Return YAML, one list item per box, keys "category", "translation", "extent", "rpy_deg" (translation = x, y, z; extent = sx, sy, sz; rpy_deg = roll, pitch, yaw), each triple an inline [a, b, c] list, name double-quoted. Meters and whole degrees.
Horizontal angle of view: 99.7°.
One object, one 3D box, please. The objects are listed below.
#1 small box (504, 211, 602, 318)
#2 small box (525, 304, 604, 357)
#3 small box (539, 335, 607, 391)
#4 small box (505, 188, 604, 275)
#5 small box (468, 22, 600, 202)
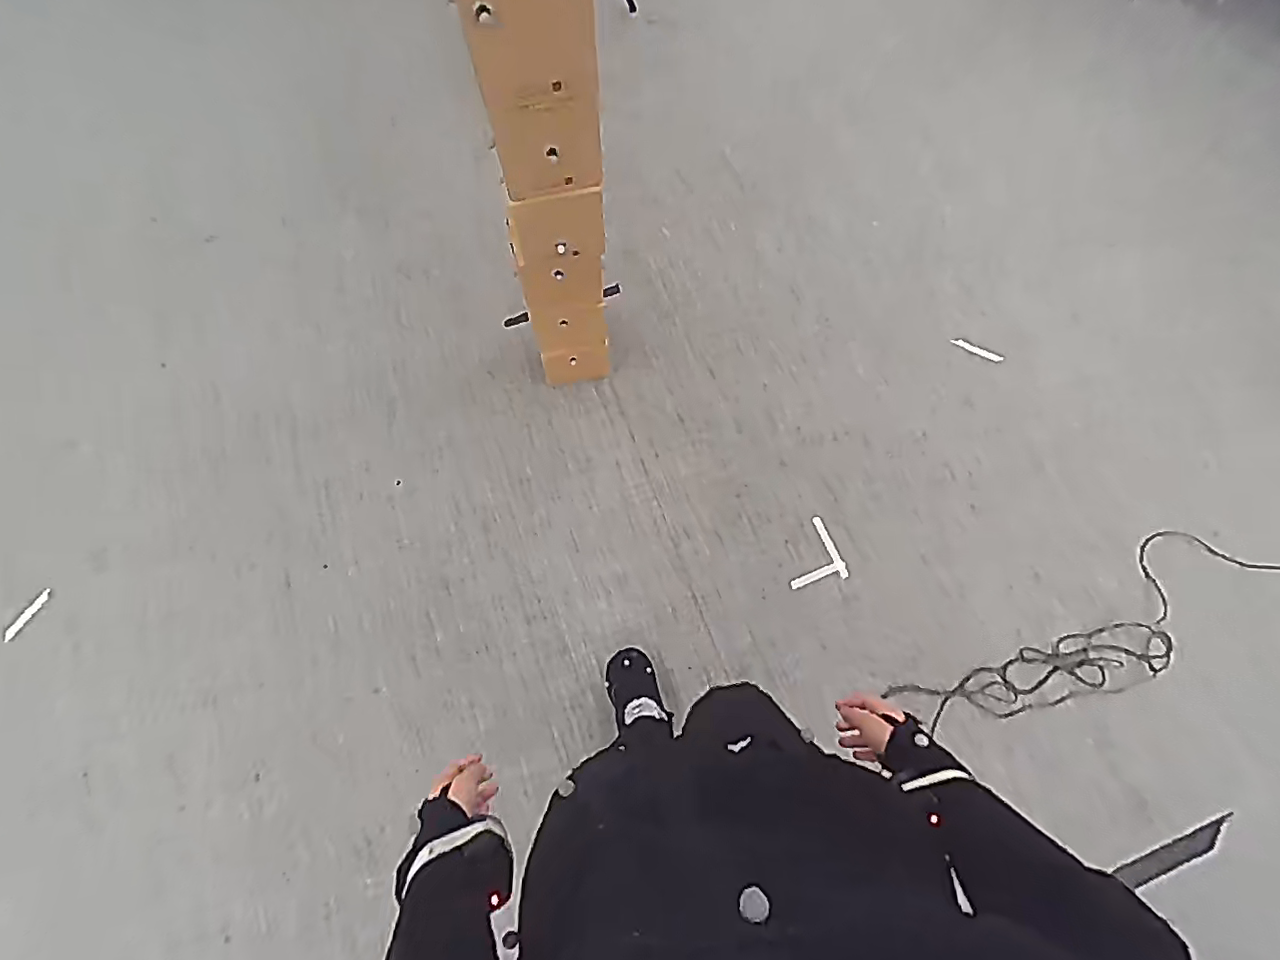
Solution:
- category: "small box"
  translation: [-0.186, -0.477, 1.189]
  extent: [0.179, 0.176, 0.168]
  rpy_deg: [-12, 75, -6]
- category: "small box"
  translation: [-0.188, -0.422, 1.341]
  extent: [0.179, 0.176, 0.168]
  rpy_deg: [-9, 74, -5]
- category: "small box"
  translation: [-0.191, -0.366, 1.496]
  extent: [0.179, 0.176, 0.168]
  rpy_deg: [-12, 74, -6]
- category: "small box"
  translation: [-0.166, -0.526, 1.033]
  extent: [0.168, 0.176, 0.179]
  rpy_deg: [-12, 75, -5]
- category: "small box"
  translation: [-0.163, -0.582, 0.878]
  extent: [0.168, 0.176, 0.179]
  rpy_deg: [-14, 75, -6]
